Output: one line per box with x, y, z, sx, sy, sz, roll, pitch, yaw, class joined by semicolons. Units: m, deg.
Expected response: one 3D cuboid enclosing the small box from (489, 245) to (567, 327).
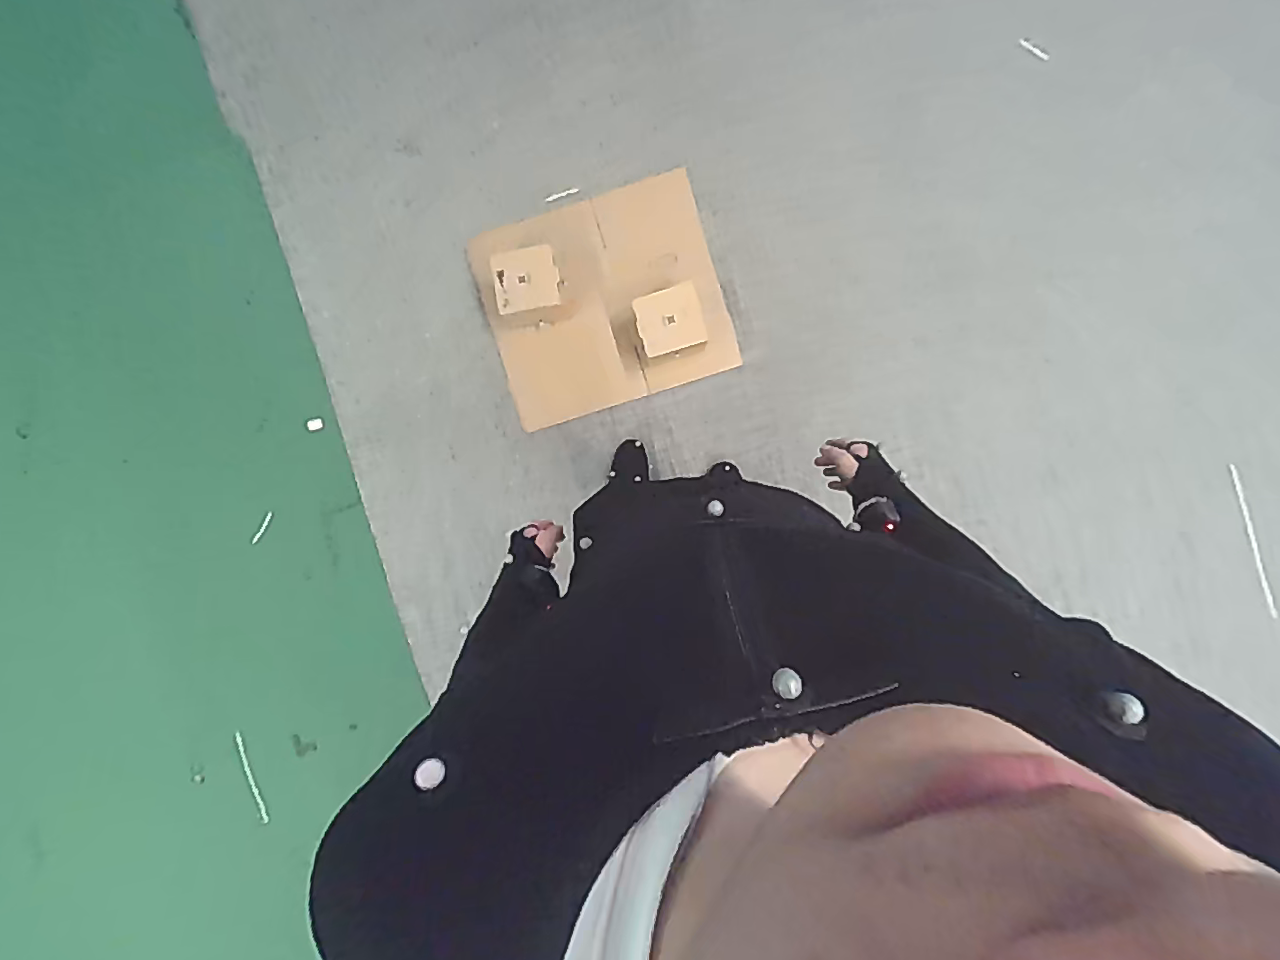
-0.311;-0.546;1.537;0.179;0.176;0.168;-9;92;2;small box

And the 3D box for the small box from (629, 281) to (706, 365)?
0.079;-0.436;1.529;0.179;0.176;0.168;-16;92;3;small box
